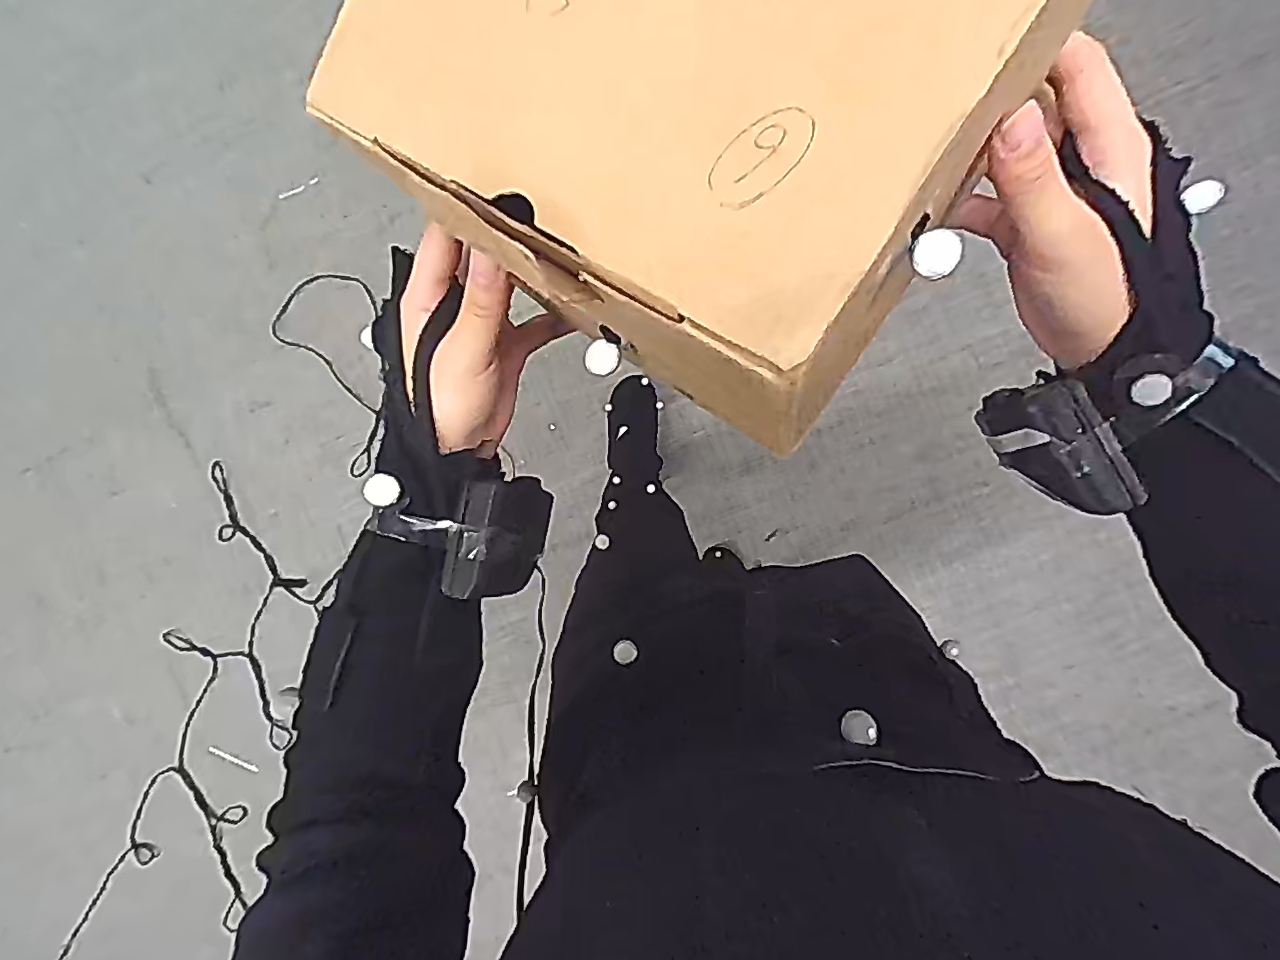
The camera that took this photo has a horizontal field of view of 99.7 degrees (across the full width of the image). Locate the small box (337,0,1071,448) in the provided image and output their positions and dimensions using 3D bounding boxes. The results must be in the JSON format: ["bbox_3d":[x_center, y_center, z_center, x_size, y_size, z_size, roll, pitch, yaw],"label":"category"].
[{"bbox_3d":[0.035,-0.128,0.217,0.168,0.176,0.179,34,96,14],"label":"small box"}]
